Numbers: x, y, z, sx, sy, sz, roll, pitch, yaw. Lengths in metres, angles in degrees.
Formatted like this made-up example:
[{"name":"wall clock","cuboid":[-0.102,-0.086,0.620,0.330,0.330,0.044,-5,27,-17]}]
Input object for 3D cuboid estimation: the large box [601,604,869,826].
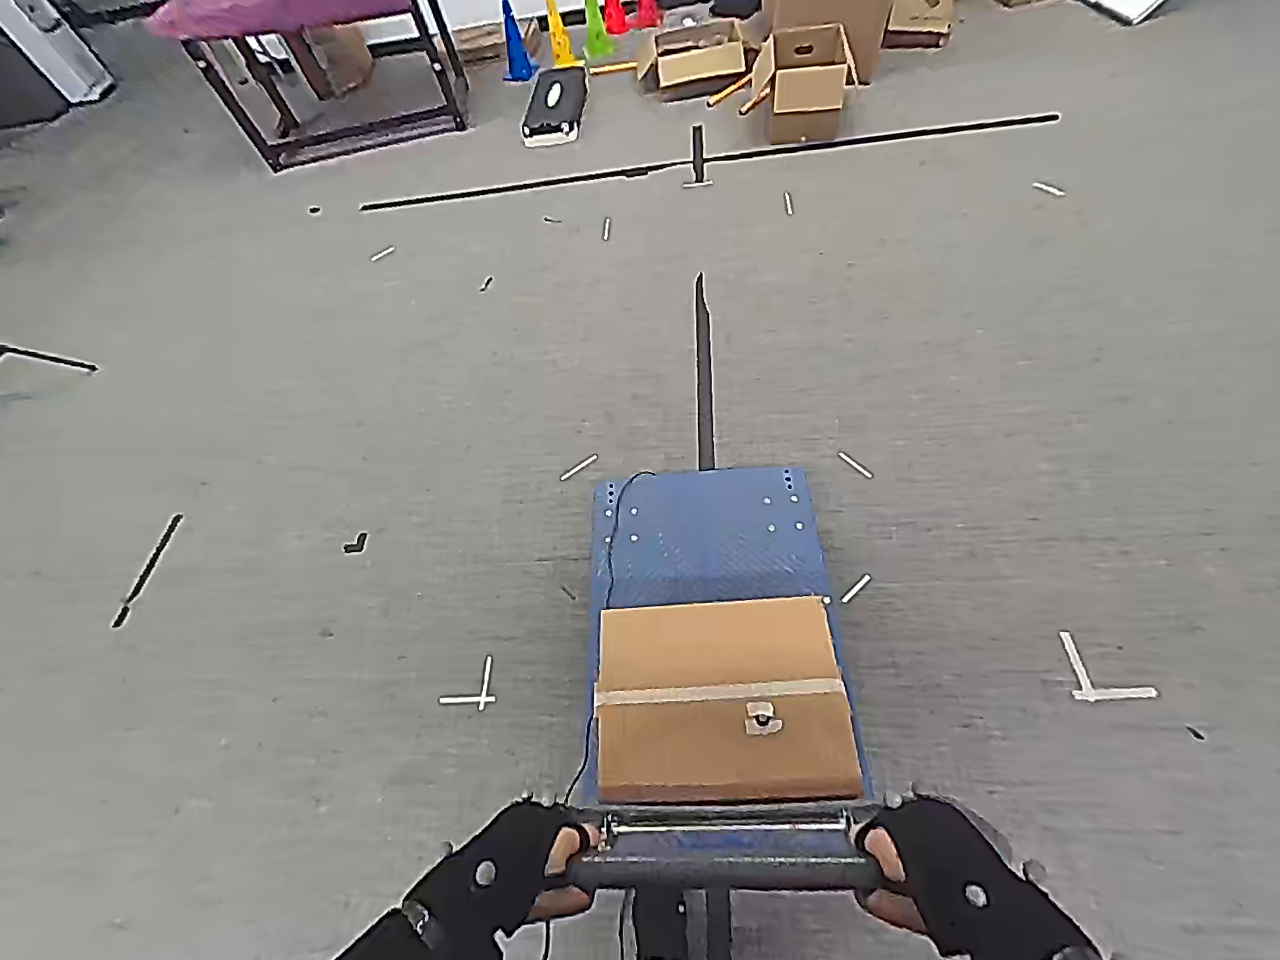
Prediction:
[{"name":"large box","cuboid":[0.149,0.445,1.001,0.408,0.320,0.320,-5,57,5]}]
